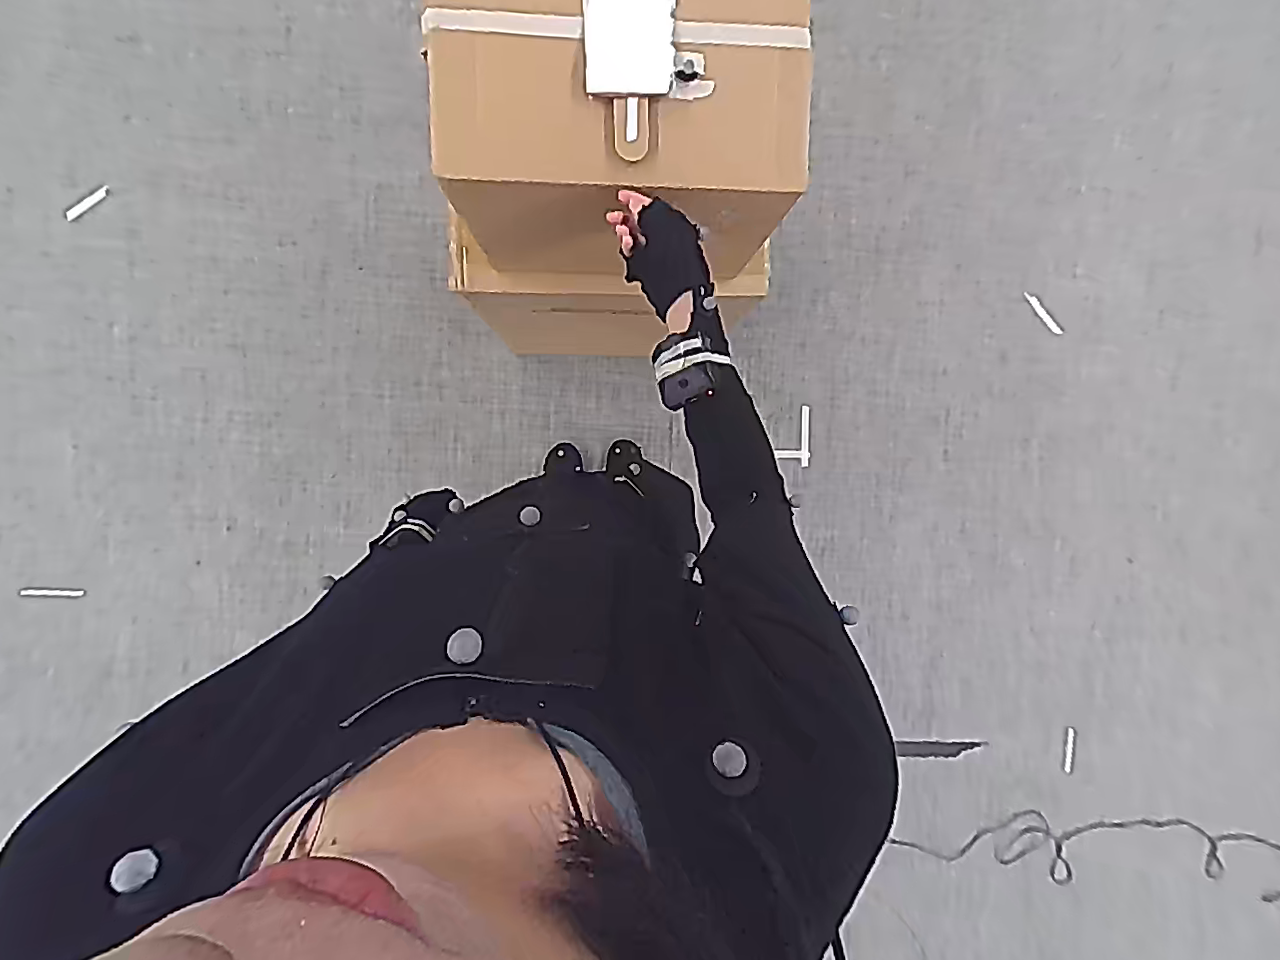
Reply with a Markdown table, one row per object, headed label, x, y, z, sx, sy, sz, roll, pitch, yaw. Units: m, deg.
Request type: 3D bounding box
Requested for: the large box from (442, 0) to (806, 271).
| label | x | y | z | sx | sy | sz | roll | pitch | yaw |
| --- | --- | --- | --- | --- | --- | --- | --- | --- | --- |
| large box | -0.026 | -0.490 | 0.737 | 0.408 | 0.320 | 0.320 | 0 | 94 | -5 |
